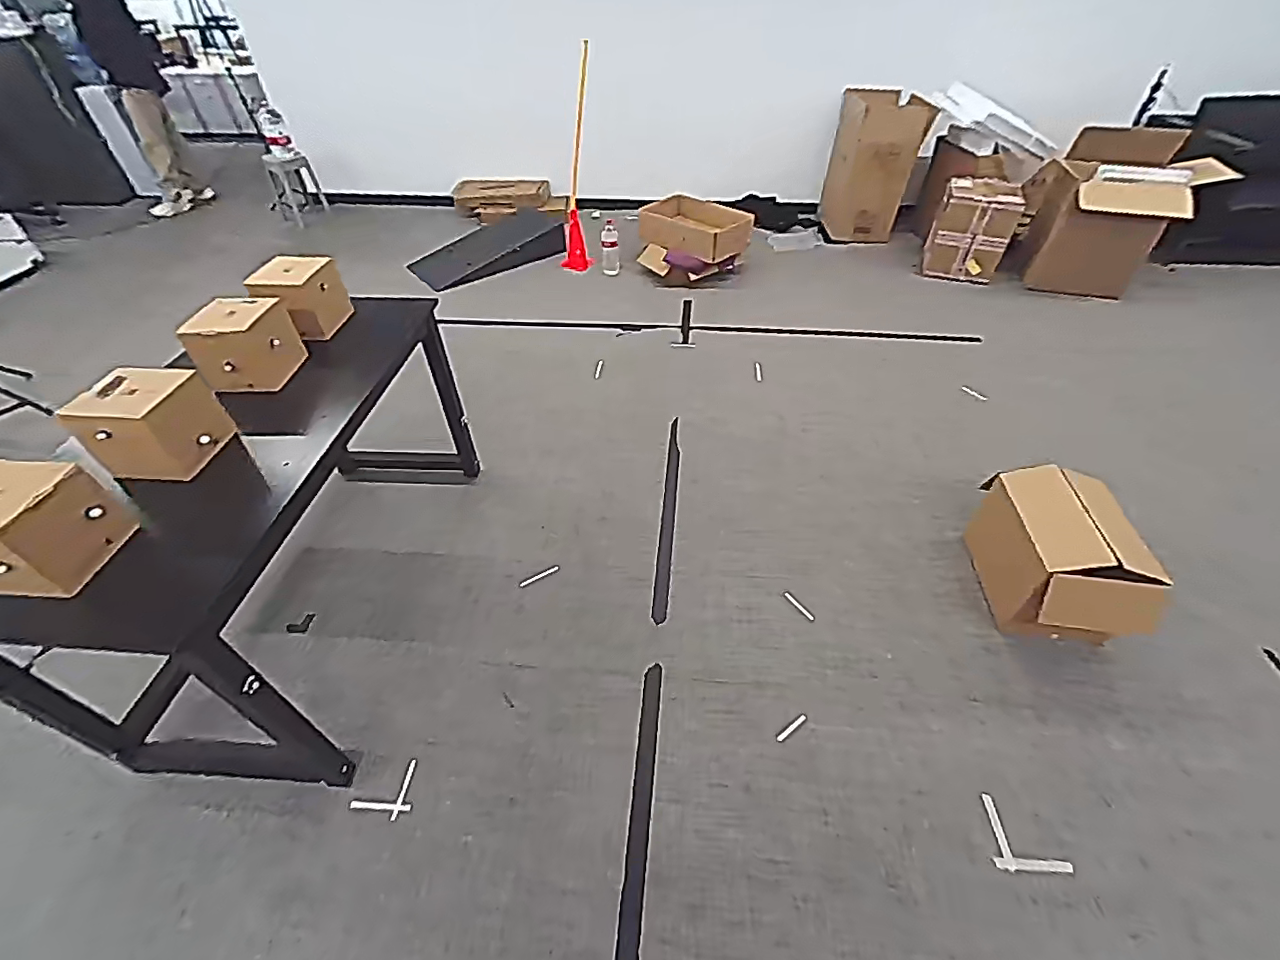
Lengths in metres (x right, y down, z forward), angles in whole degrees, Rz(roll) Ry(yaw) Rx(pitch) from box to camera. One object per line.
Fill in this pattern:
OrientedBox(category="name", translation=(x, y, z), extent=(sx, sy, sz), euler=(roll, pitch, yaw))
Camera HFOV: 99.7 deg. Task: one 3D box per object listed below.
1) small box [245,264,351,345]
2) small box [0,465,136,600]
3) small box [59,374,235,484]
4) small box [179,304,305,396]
OrientedBox(category="small box", translation=(-0.962, -0.501, 1.544), extent=(0.168, 0.176, 0.179), euler=(3, 44, 3))
OrientedBox(category="small box", translation=(-1.048, 0.092, 0.932), extent=(0.179, 0.176, 0.168), euler=(1, 43, 3))
OrientedBox(category="small box", translation=(-1.018, -0.106, 1.137), extent=(0.179, 0.176, 0.168), euler=(3, 44, 2))
OrientedBox(category="small box", translation=(-0.988, -0.326, 1.365), extent=(0.168, 0.176, 0.179), euler=(0, 45, 0))
